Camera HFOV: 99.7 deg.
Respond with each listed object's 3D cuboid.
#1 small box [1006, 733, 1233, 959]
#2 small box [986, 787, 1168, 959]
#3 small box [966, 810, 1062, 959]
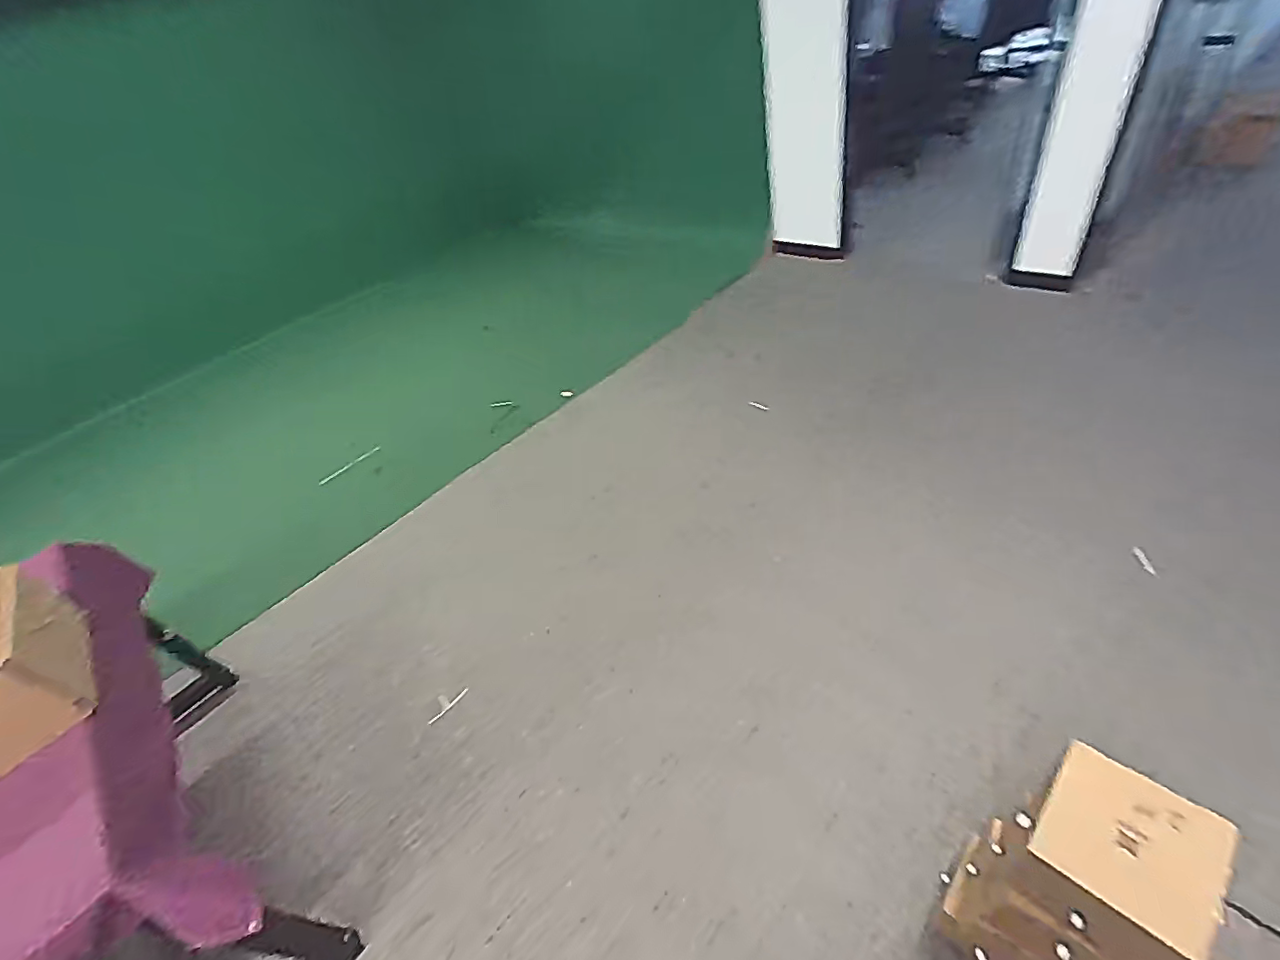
[{"bbox_3d":[0.614,0.486,0.714,0.168,0.176,0.179,27,58,39],"label":"small box"},{"bbox_3d":[0.653,0.611,0.814,0.179,0.176,0.168,18,53,34],"label":"small box"},{"bbox_3d":[0.678,0.723,0.931,0.168,0.176,0.179,16,51,32],"label":"small box"}]
